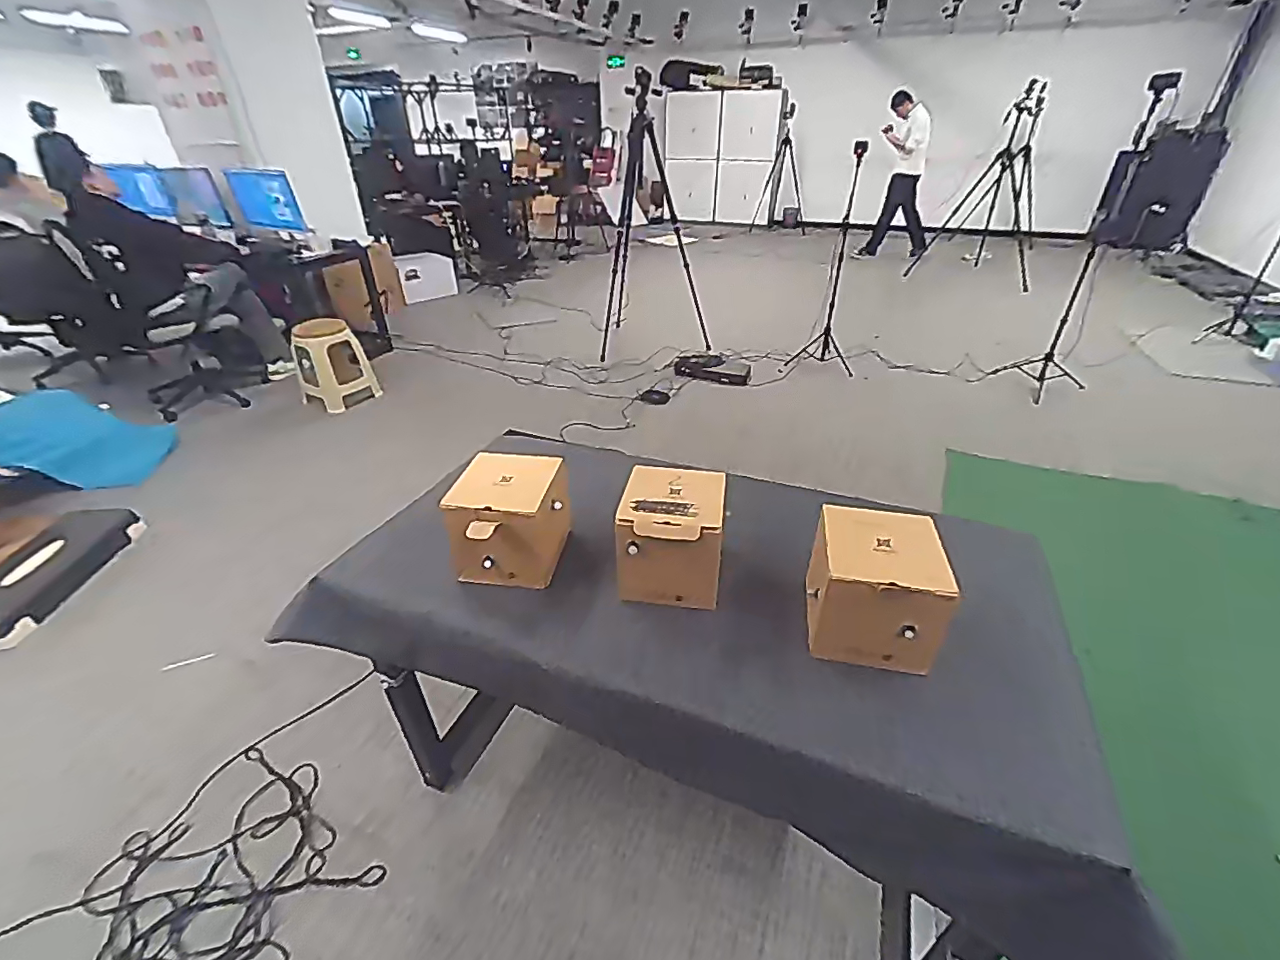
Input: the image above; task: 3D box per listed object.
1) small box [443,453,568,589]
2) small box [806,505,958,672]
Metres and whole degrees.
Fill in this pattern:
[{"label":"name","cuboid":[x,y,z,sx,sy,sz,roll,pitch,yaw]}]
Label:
[{"label":"small box","cuboid":[-0.230,0.070,0.977,0.168,0.176,0.179,4,34,7]},{"label":"small box","cuboid":[0.353,0.163,0.824,0.168,0.176,0.179,7,32,10]}]
